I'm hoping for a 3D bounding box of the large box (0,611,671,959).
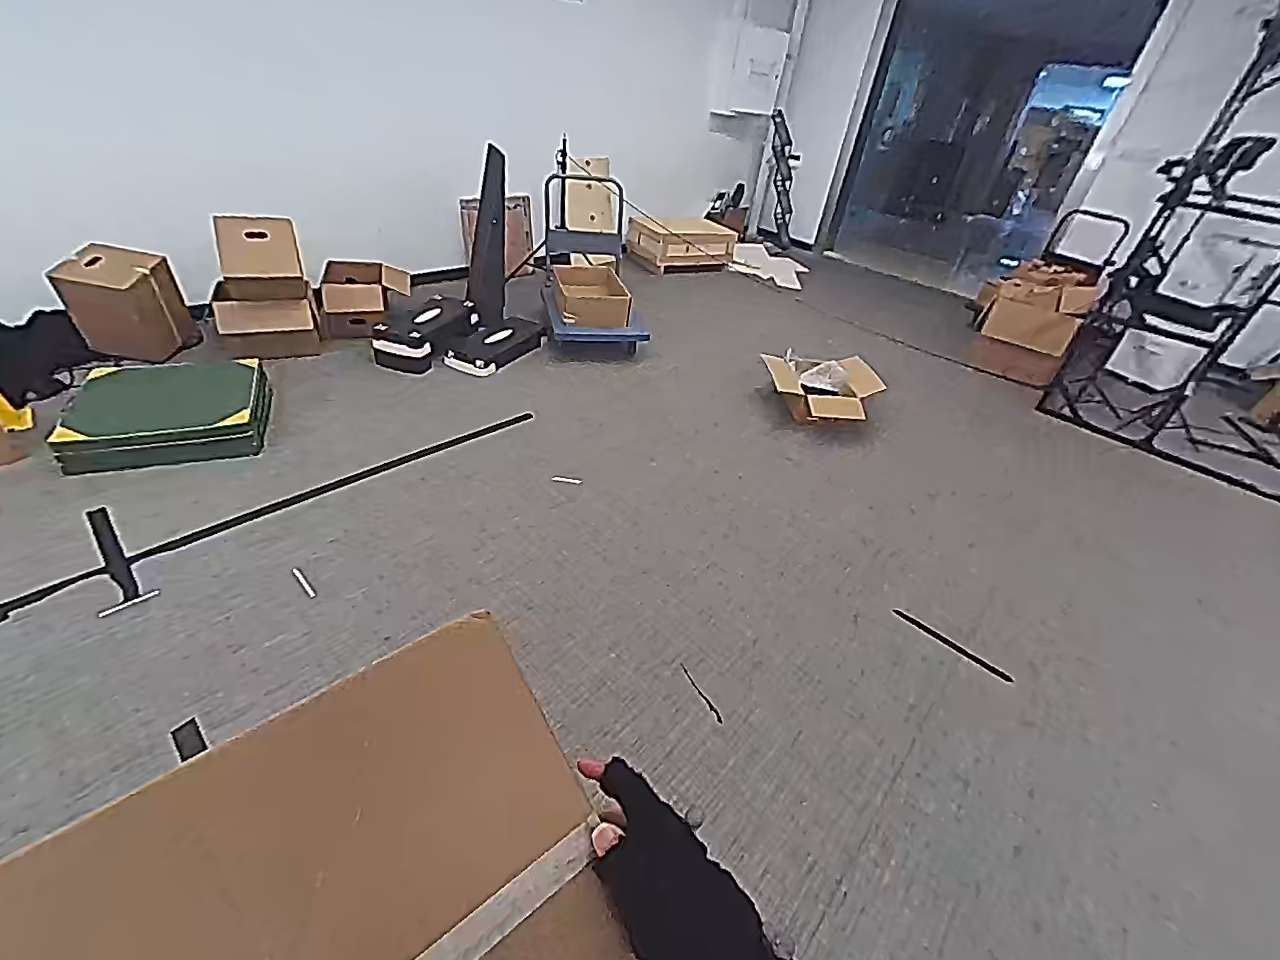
[{"bbox_3d":[-0.239,0.348,0.374,0.408,0.320,0.320,-26,82,-30],"label":"large box"}]
